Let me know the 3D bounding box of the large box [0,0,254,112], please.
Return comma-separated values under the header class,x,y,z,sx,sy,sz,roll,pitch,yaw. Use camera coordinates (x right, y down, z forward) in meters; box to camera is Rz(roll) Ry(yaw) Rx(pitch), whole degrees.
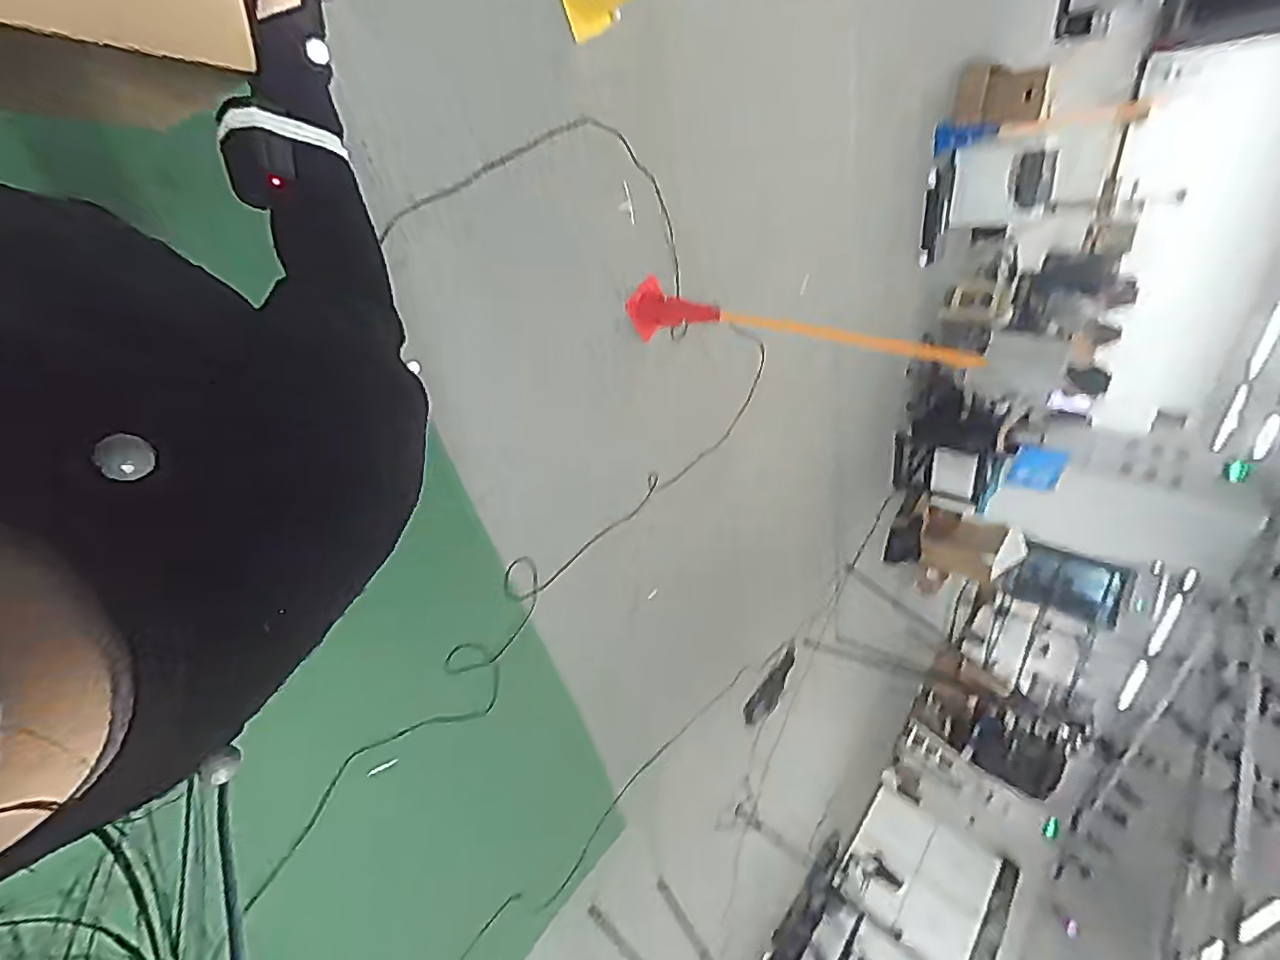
class,x,y,z,sx,sy,sz,roll,pitch,yaw
large box,-0.542,-0.443,0.320,0.408,0.320,0.320,-24,123,-43
